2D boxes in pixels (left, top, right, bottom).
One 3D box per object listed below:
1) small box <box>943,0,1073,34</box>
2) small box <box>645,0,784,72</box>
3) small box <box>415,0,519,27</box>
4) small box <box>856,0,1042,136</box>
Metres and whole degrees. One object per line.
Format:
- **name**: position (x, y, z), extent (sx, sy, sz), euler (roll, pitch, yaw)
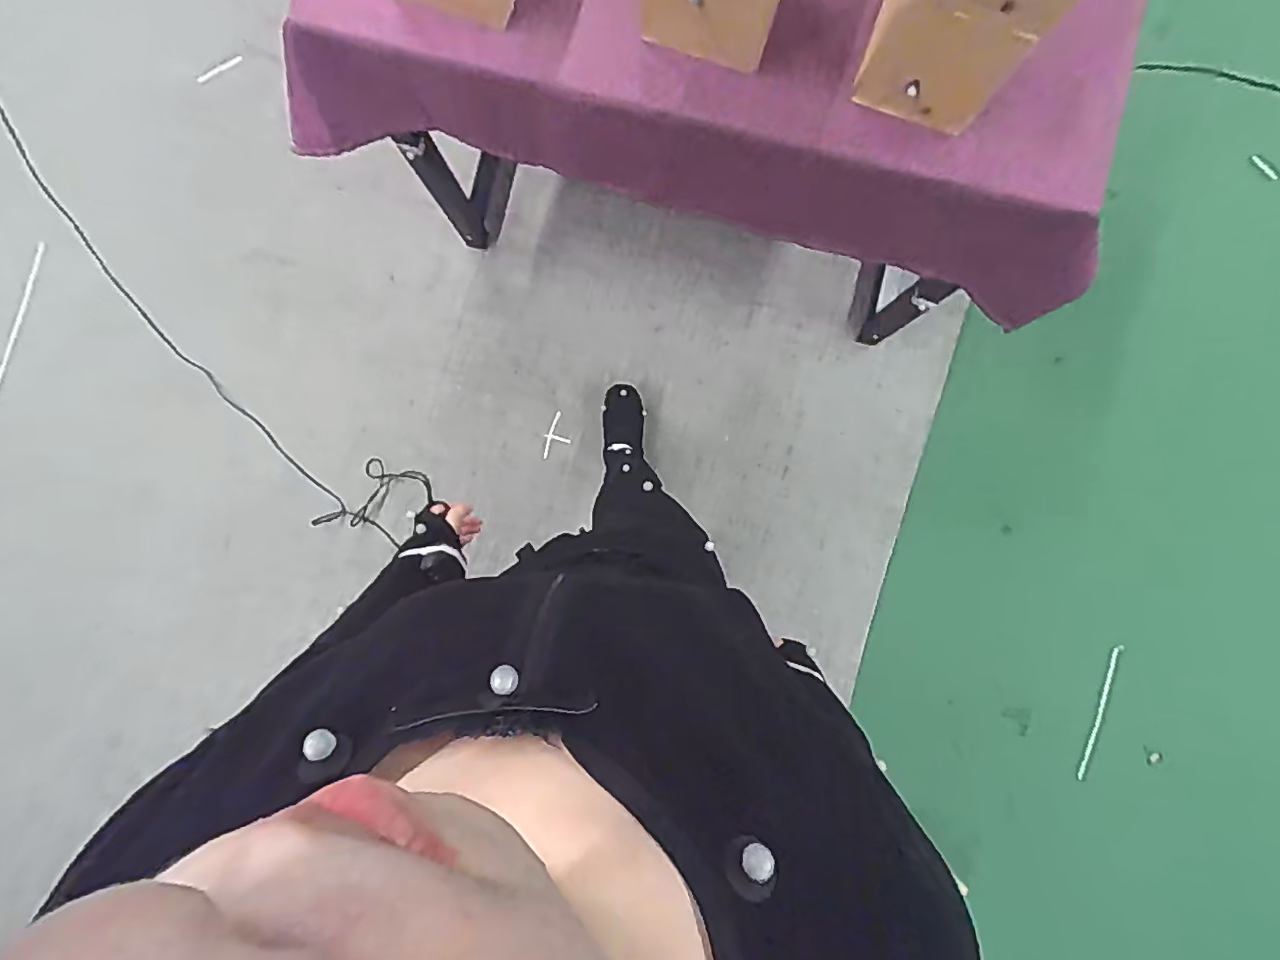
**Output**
- **small box**: position (0.410, -0.609, 0.541), extent (0.168, 0.176, 0.179), euler (18, 88, 0)
- **small box**: position (0.110, -0.688, 0.709), extent (0.179, 0.176, 0.168), euler (19, 88, 2)
- **small box**: position (-0.249, -0.757, 0.712), extent (0.179, 0.176, 0.168), euler (18, 88, 0)
- **small box**: position (0.410, -0.604, 0.706), extent (0.168, 0.176, 0.179), euler (20, 89, 1)
